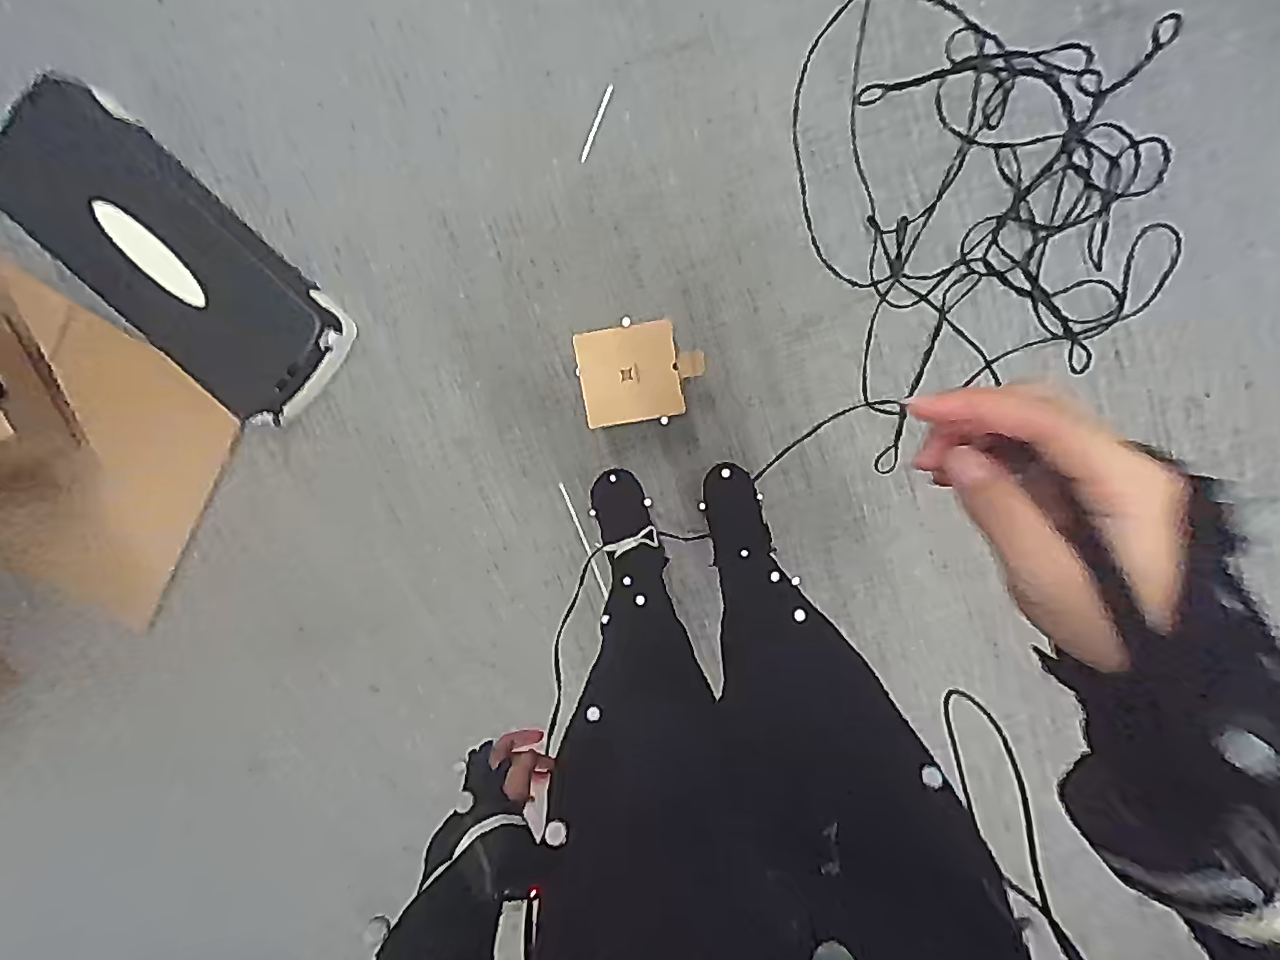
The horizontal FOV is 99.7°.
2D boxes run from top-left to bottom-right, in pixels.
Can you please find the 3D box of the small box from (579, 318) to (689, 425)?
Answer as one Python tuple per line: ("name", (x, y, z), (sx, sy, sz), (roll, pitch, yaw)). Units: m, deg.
("small box", (-0.006, -0.200, 1.018), (0.179, 0.176, 0.168), (-9, 100, 3))
